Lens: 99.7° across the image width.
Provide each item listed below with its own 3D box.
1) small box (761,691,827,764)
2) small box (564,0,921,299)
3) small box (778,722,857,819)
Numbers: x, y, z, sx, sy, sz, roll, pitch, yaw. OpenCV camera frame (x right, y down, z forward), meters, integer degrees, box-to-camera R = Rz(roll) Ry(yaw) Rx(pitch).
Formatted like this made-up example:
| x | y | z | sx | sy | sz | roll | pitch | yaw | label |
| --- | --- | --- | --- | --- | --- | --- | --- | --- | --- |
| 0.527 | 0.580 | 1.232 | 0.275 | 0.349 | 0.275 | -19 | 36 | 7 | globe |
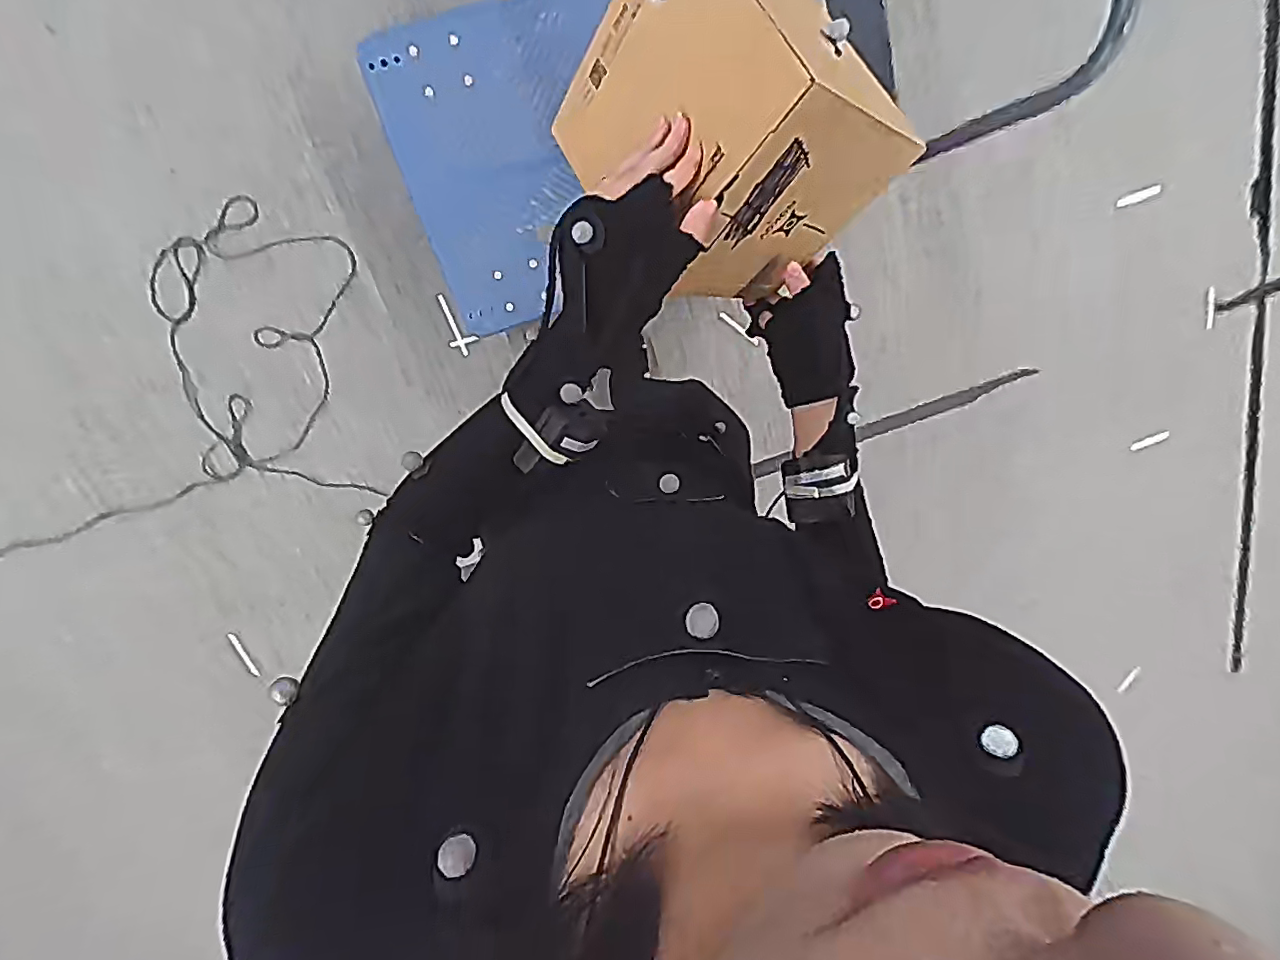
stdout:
| x | y | z | sx | sy | sz | roll | pitch | yaw | label |
| --- | --- | --- | --- | --- | --- | --- | --- | --- | --- |
| 0.527 | 0.858 | 1.835 | 0.179 | 0.176 | 0.168 | -24 | 110 | -5 | small box |
| 0.071 | -0.265 | 0.417 | 0.179 | 0.168 | 0.176 | -16 | 74 | -44 | small box |
| 0.546 | 0.894 | 1.676 | 0.168 | 0.176 | 0.179 | -17 | 110 | -6 | small box |
